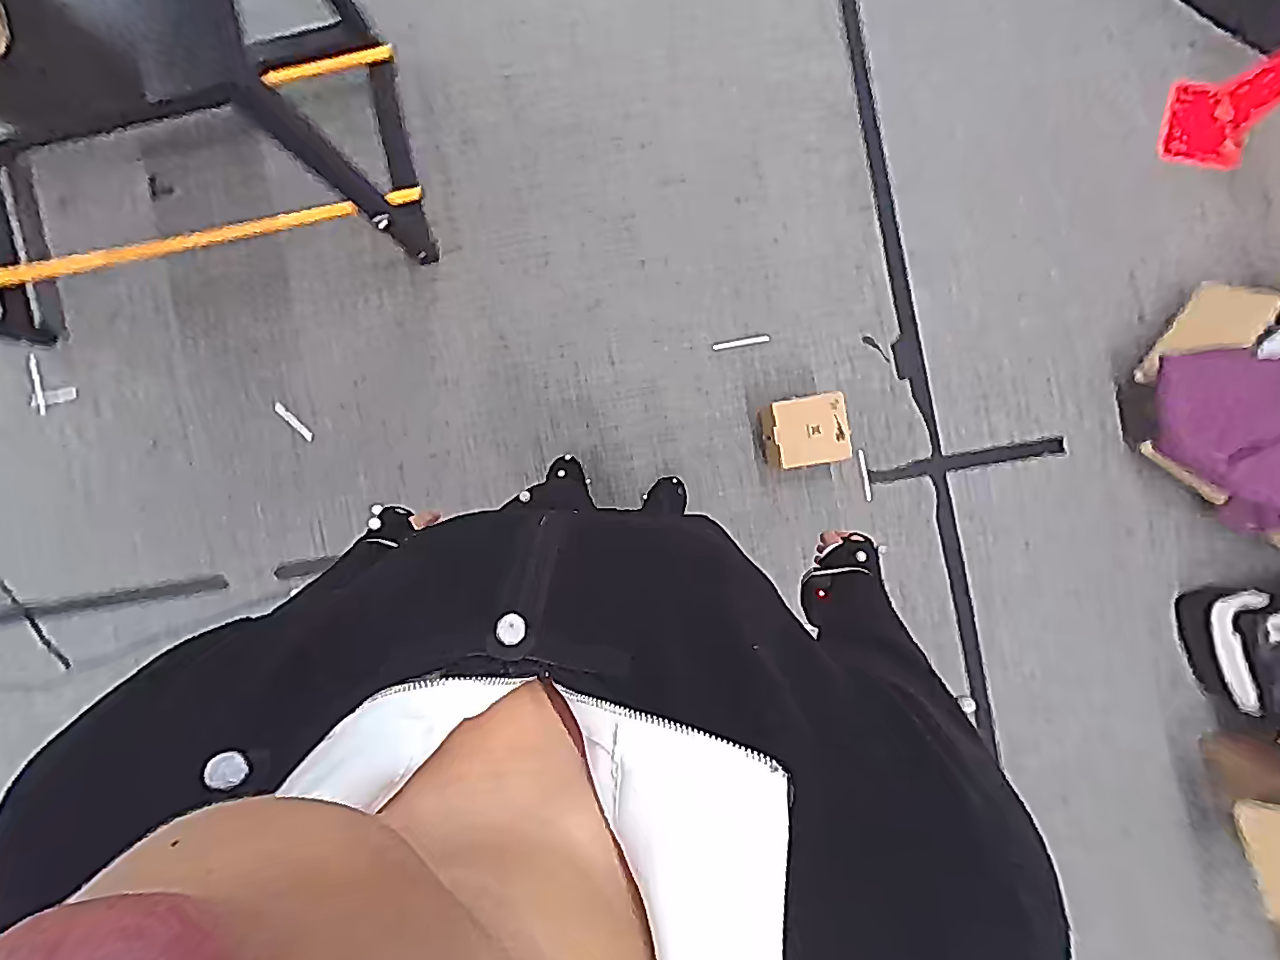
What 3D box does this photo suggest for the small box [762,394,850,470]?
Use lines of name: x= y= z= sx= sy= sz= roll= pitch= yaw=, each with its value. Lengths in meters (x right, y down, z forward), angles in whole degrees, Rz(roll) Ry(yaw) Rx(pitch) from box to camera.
small box: x=0.417 y=-0.118 z=1.386 sx=0.179 sy=0.176 sz=0.168 roll=-8 pitch=91 yaw=3
